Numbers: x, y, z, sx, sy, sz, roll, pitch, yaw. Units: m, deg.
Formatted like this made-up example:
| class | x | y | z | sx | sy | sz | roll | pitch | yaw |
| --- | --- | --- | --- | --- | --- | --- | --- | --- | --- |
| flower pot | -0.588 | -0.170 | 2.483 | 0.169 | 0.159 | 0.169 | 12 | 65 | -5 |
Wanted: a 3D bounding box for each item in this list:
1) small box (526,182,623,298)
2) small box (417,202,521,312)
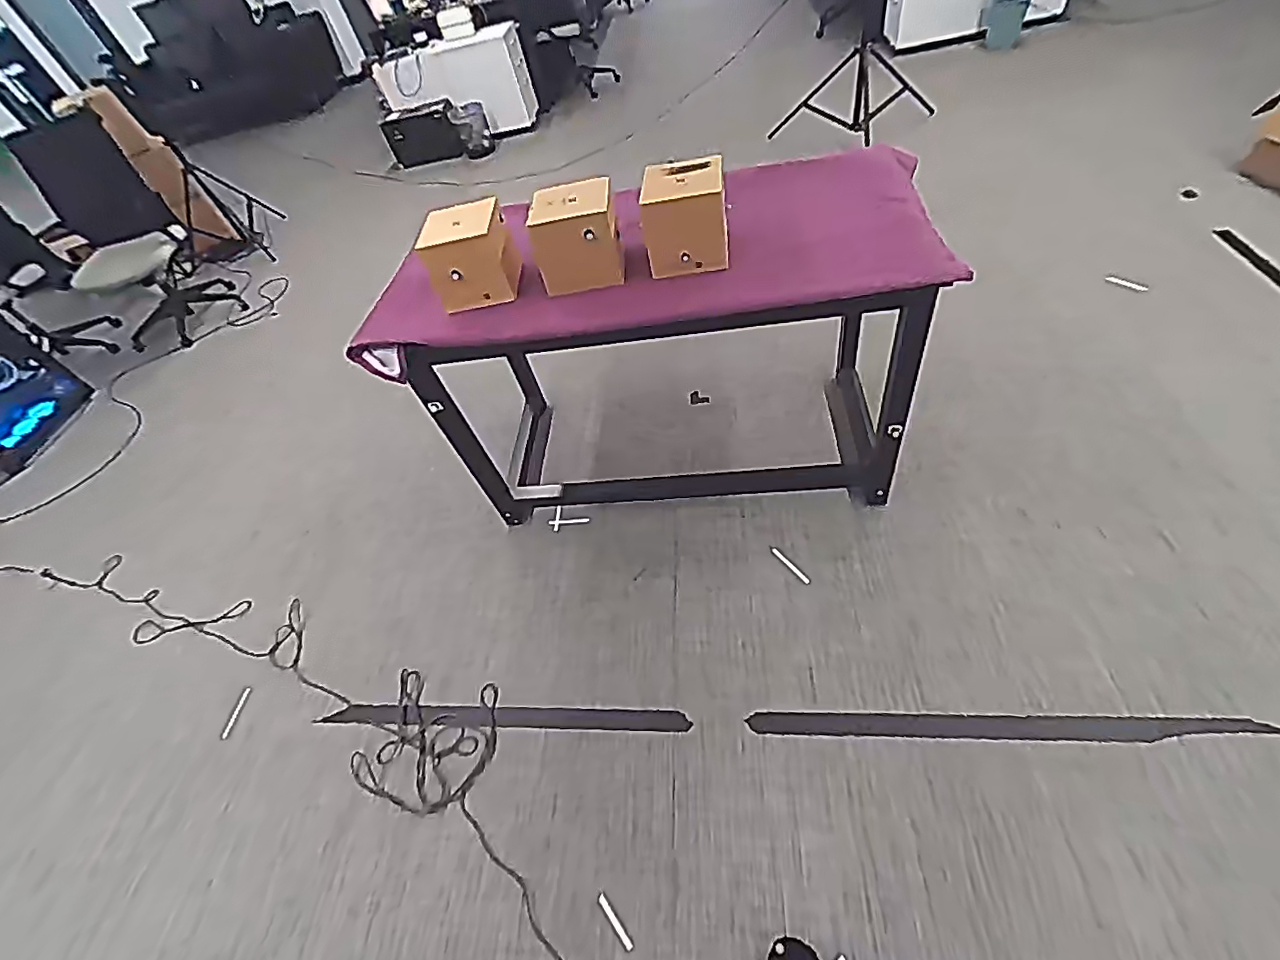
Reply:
| class | x | y | z | sx | sy | sz | roll | pitch | yaw |
| --- | --- | --- | --- | --- | --- | --- | --- | --- | --- |
| small box | -0.137 | -0.533 | 1.210 | 0.179 | 0.176 | 0.168 | -7 | 49 | 8 |
| small box | -0.387 | -0.509 | 1.258 | 0.168 | 0.176 | 0.179 | -10 | 49 | 6 |
